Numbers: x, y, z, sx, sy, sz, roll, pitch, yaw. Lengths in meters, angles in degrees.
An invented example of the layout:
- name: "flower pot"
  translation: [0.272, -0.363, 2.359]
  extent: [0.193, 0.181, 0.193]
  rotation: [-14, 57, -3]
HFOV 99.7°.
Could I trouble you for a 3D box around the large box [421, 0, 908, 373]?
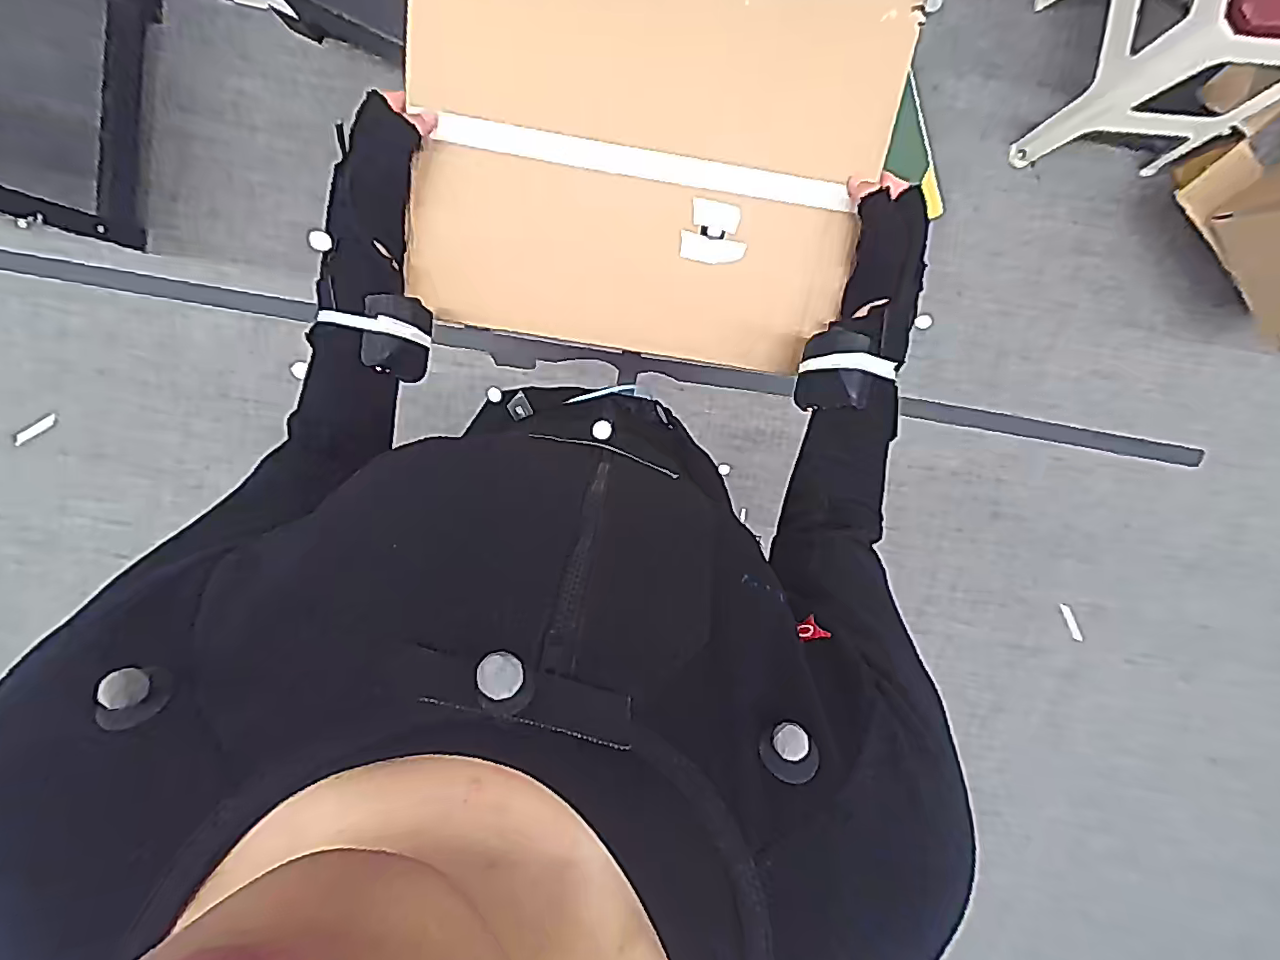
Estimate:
- name: "large box"
  translation: [0.001, -0.318, 0.620]
  extent: [0.408, 0.320, 0.320]
  rotation: [7, 109, -5]
